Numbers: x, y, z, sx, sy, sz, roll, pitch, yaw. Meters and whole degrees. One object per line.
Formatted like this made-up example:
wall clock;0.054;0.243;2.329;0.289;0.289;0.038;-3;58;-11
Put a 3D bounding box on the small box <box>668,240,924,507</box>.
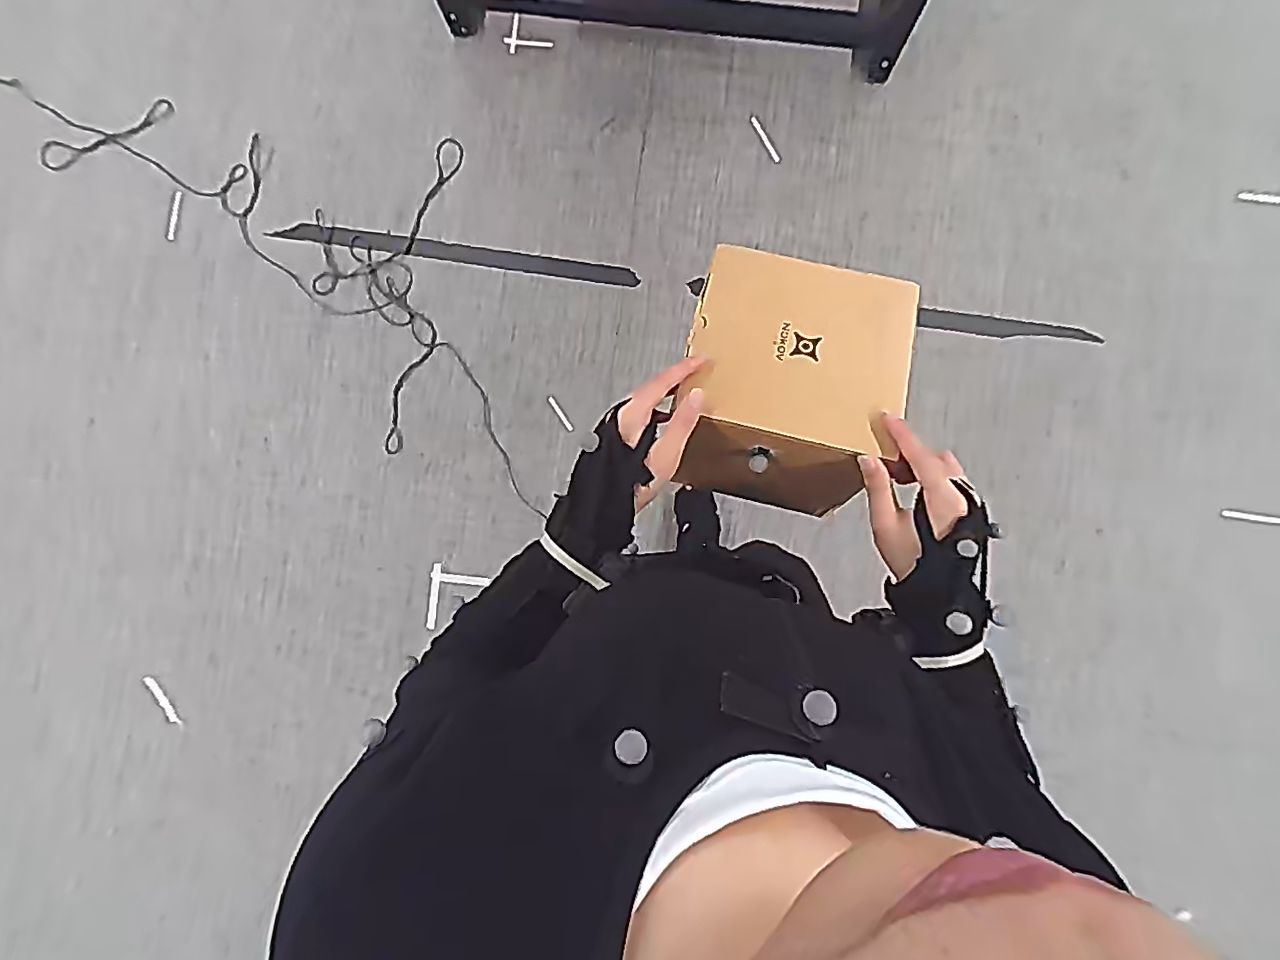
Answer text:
small box;0.130;-0.084;0.503;0.179;0.176;0.168;13;72;6
